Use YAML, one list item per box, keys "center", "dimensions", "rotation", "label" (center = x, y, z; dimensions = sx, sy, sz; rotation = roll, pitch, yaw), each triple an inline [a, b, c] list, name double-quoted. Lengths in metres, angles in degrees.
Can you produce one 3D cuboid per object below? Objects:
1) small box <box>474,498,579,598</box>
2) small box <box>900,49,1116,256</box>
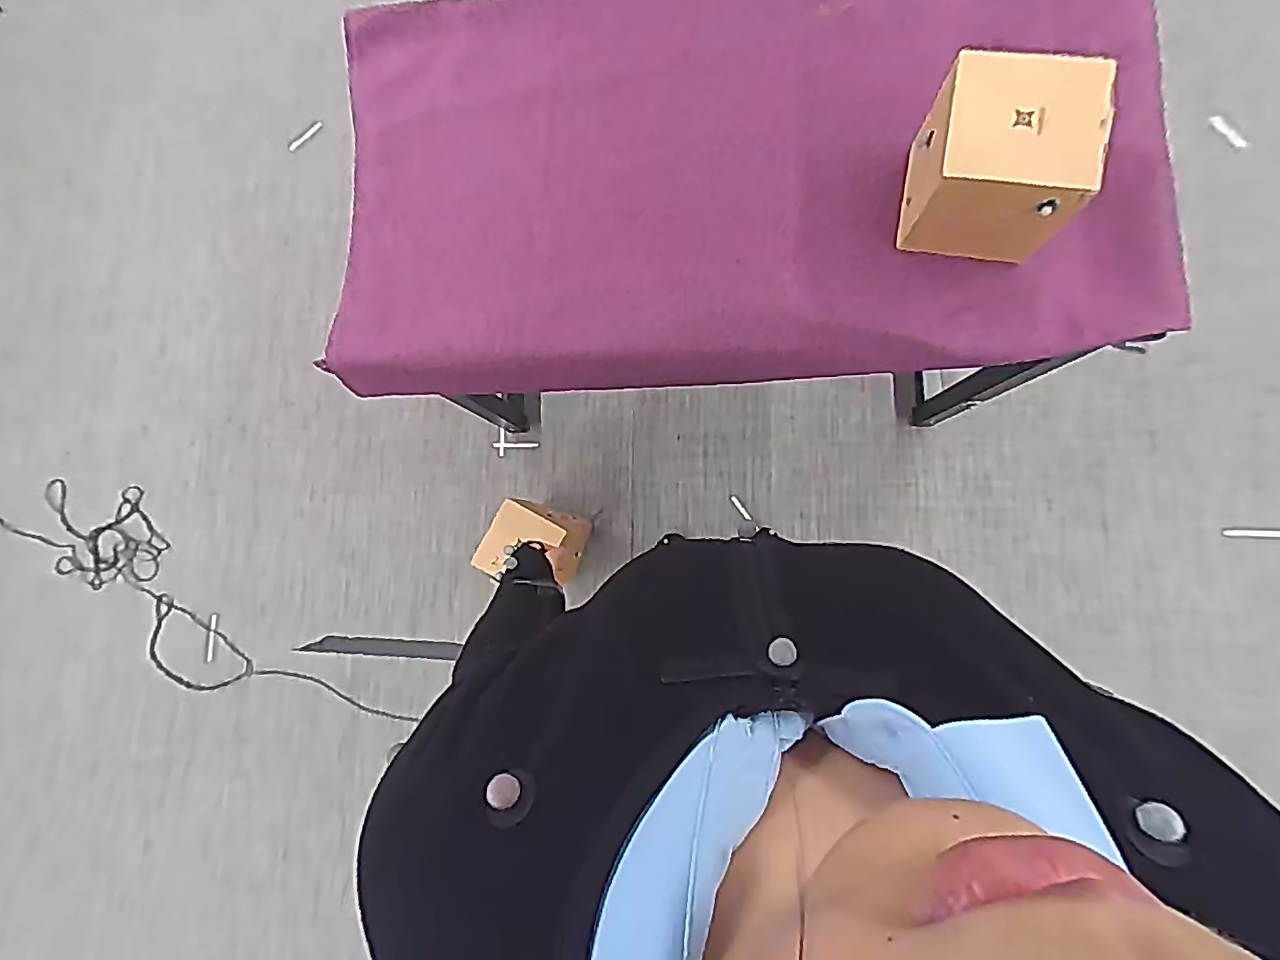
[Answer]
- center: [-0.262, 0.159, 1.302]
  dimensions: [0.168, 0.176, 0.179]
  rotation: [28, 89, 7]
  label: "small box"
- center: [0.465, -0.416, 0.712]
  dimensions: [0.179, 0.176, 0.168]
  rotation: [10, 85, 7]
  label: "small box"
